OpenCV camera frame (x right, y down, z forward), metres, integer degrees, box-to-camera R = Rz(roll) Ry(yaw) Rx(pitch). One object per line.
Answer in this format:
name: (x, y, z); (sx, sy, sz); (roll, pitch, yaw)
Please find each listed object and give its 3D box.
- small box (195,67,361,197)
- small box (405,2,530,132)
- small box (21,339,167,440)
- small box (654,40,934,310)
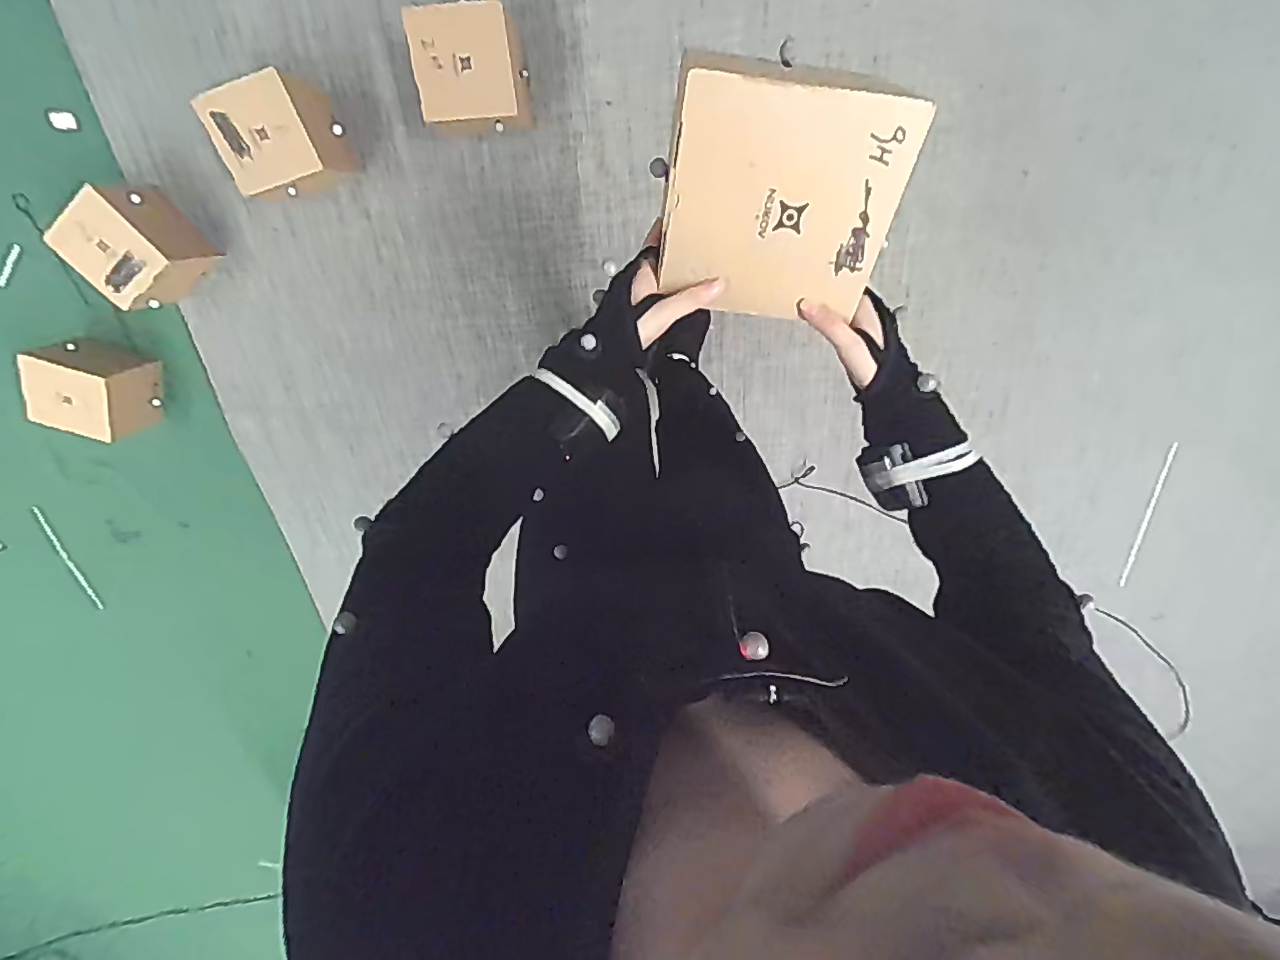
small box: (-0.693, -0.668, 1.060); (0.179, 0.176, 0.168); (-15, 116, 6)
small box: (-0.309, -0.765, 1.017); (0.179, 0.176, 0.168); (-4, 116, 1)
small box: (-1.277, -0.221, 1.278); (0.179, 0.176, 0.168); (18, 115, -9)
small box: (0.112, -0.273, 0.479); (0.179, 0.176, 0.168); (7, 132, -1)
